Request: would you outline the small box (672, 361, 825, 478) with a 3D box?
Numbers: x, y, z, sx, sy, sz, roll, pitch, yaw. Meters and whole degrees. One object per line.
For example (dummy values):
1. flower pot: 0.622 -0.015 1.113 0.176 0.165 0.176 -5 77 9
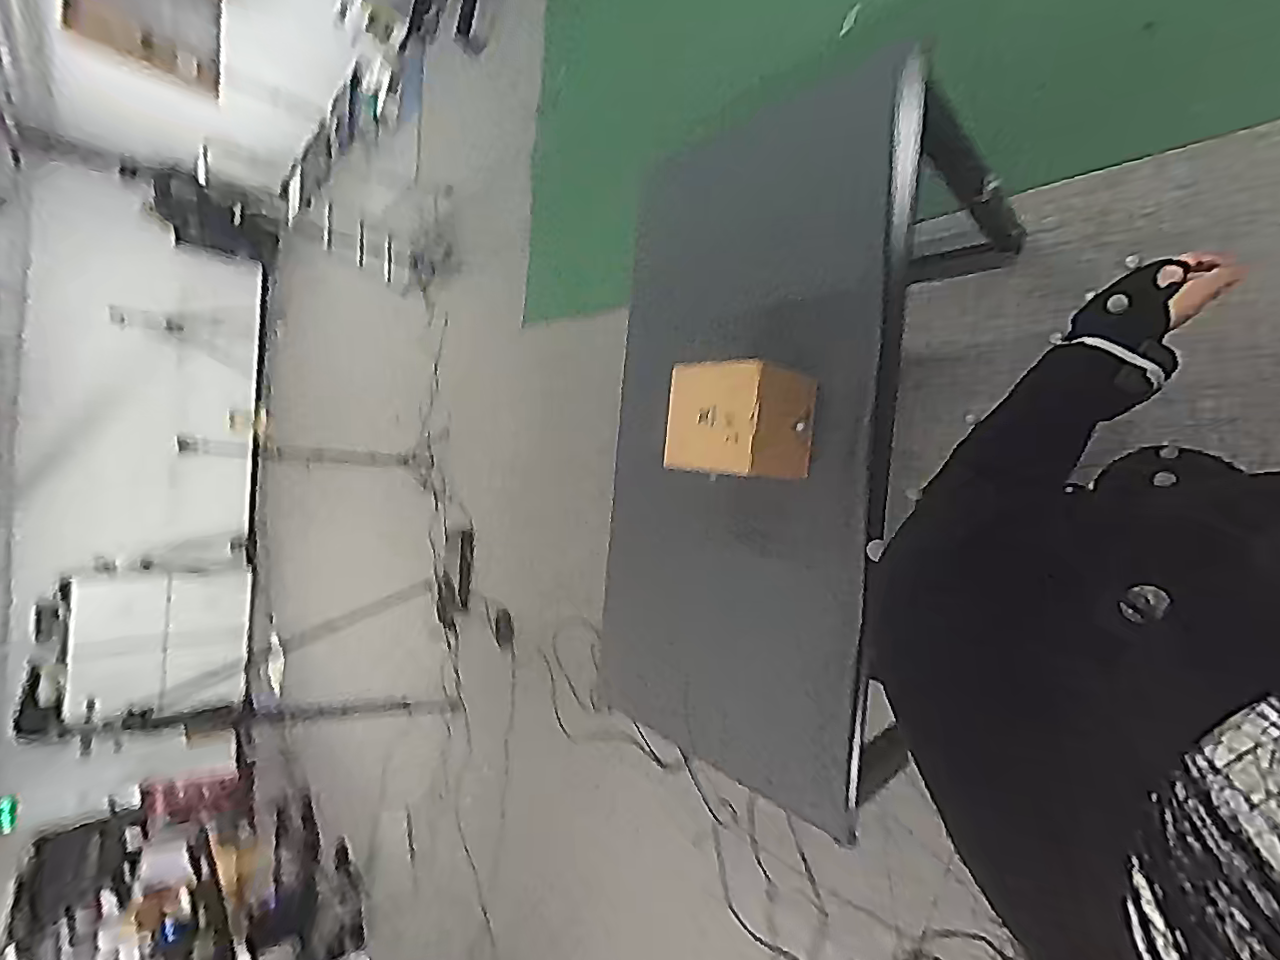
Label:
1. small box: 0.177 -0.093 0.889 0.179 0.176 0.168 6 93 47
